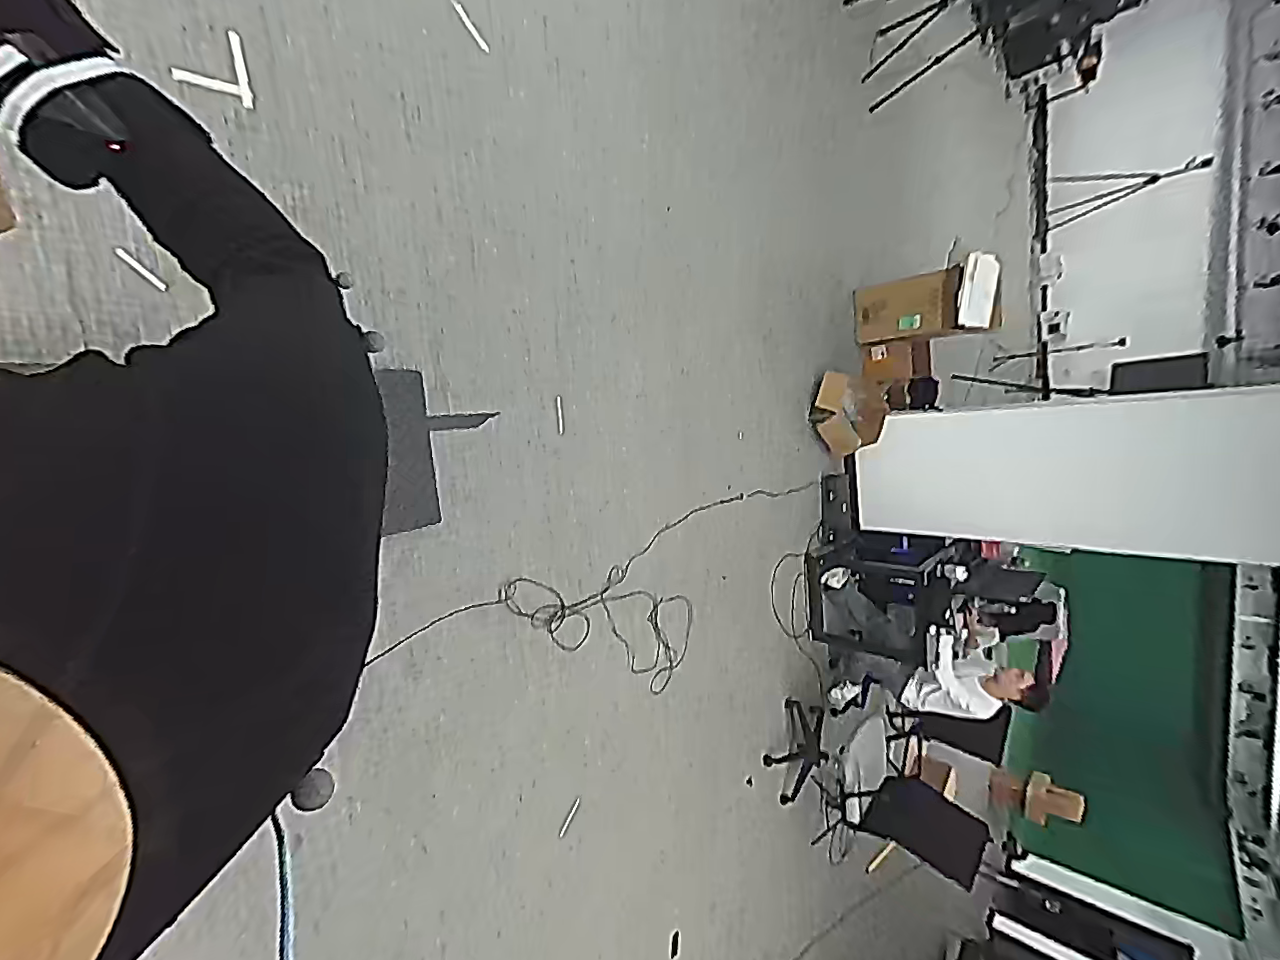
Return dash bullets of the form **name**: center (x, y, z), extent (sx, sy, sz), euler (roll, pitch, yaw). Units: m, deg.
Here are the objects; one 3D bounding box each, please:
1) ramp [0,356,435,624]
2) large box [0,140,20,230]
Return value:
- **ramp**: center (-0.964, -0.043, 1.313), extent (0.991, 0.206, 0.509), euler (-15, 101, -45)
- **large box**: center (-0.665, -0.245, 0.243), extent (0.408, 0.320, 0.320), euler (-47, 122, -34)
